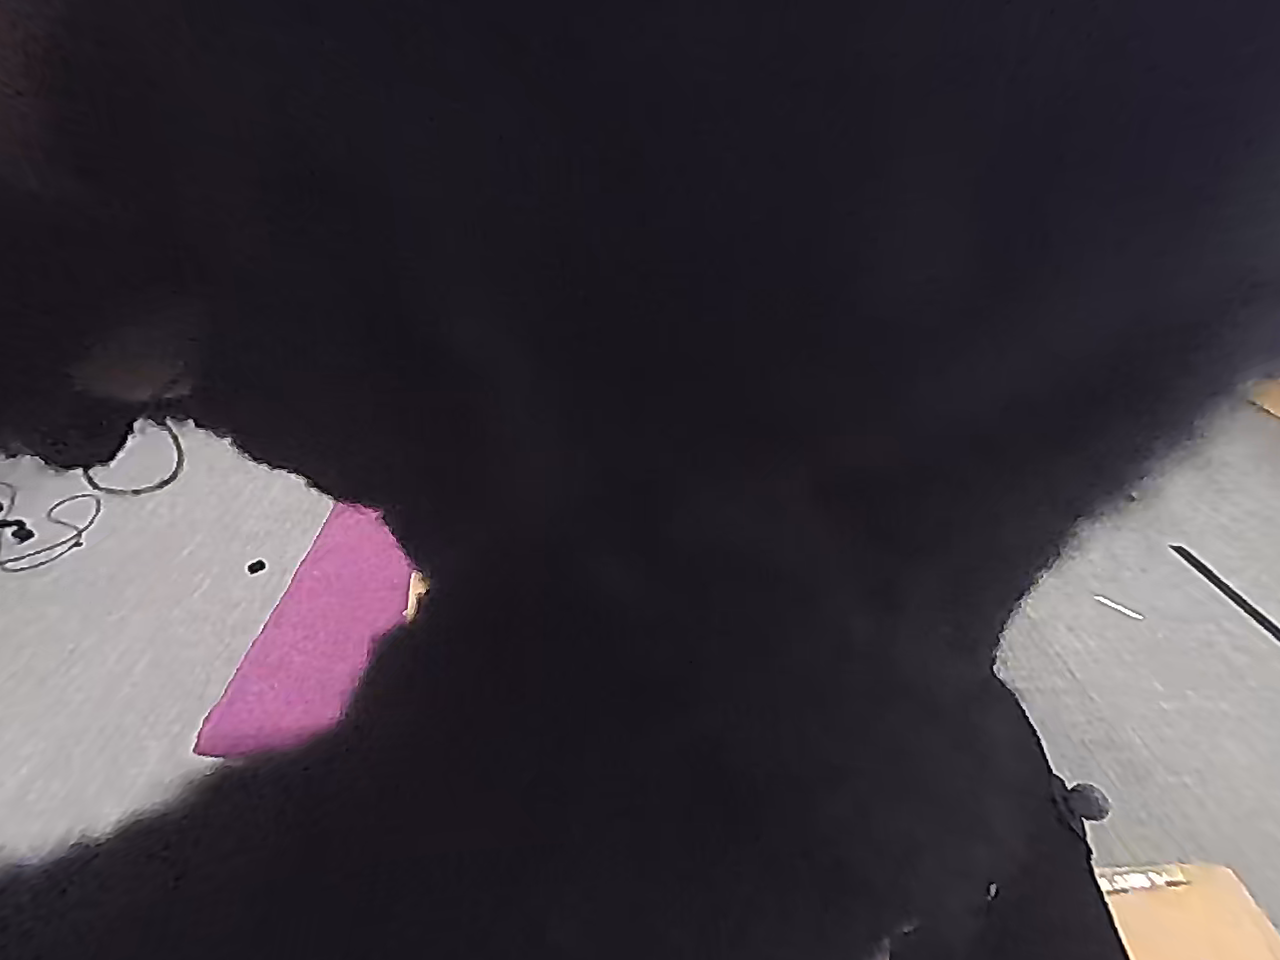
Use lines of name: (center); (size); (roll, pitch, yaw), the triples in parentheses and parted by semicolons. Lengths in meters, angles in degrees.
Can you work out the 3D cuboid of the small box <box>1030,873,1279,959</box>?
small box: (0.580, 0.566, 0.589); (0.168, 0.176, 0.179); (-7, 40, -1)
